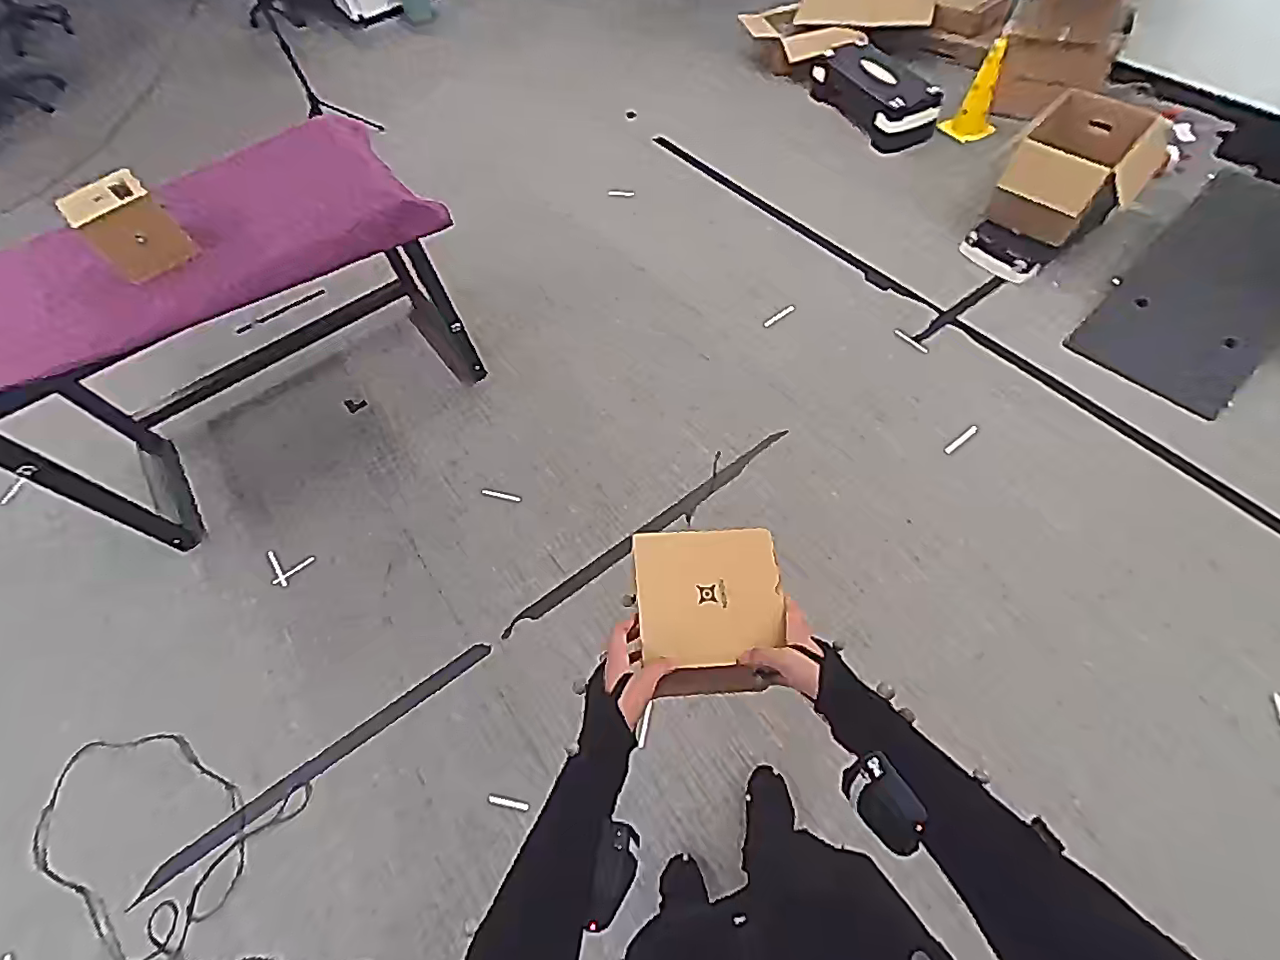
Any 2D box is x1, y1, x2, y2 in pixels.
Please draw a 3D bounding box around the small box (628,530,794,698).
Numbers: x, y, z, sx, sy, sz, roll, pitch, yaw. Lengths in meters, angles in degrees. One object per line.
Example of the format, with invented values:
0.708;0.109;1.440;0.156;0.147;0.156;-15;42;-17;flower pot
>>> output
0.075;0.177;0.699;0.179;0.176;0.168;-2;58;-6;small box
